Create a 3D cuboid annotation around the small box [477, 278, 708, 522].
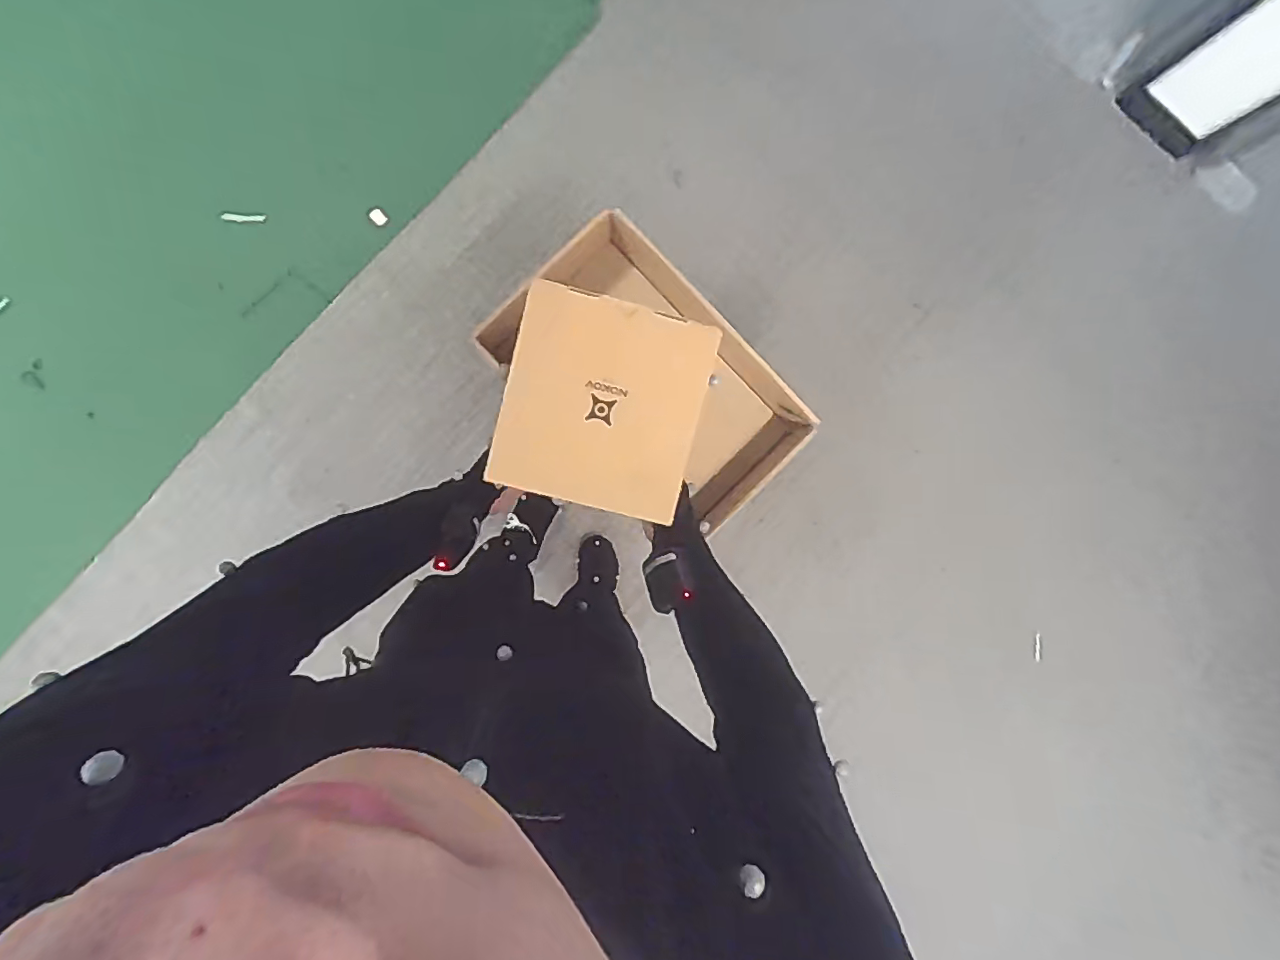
[{"bbox_3d":[-0.043,-0.071,0.534,0.168,0.176,0.179,13,93,-4],"label":"small box"}]
